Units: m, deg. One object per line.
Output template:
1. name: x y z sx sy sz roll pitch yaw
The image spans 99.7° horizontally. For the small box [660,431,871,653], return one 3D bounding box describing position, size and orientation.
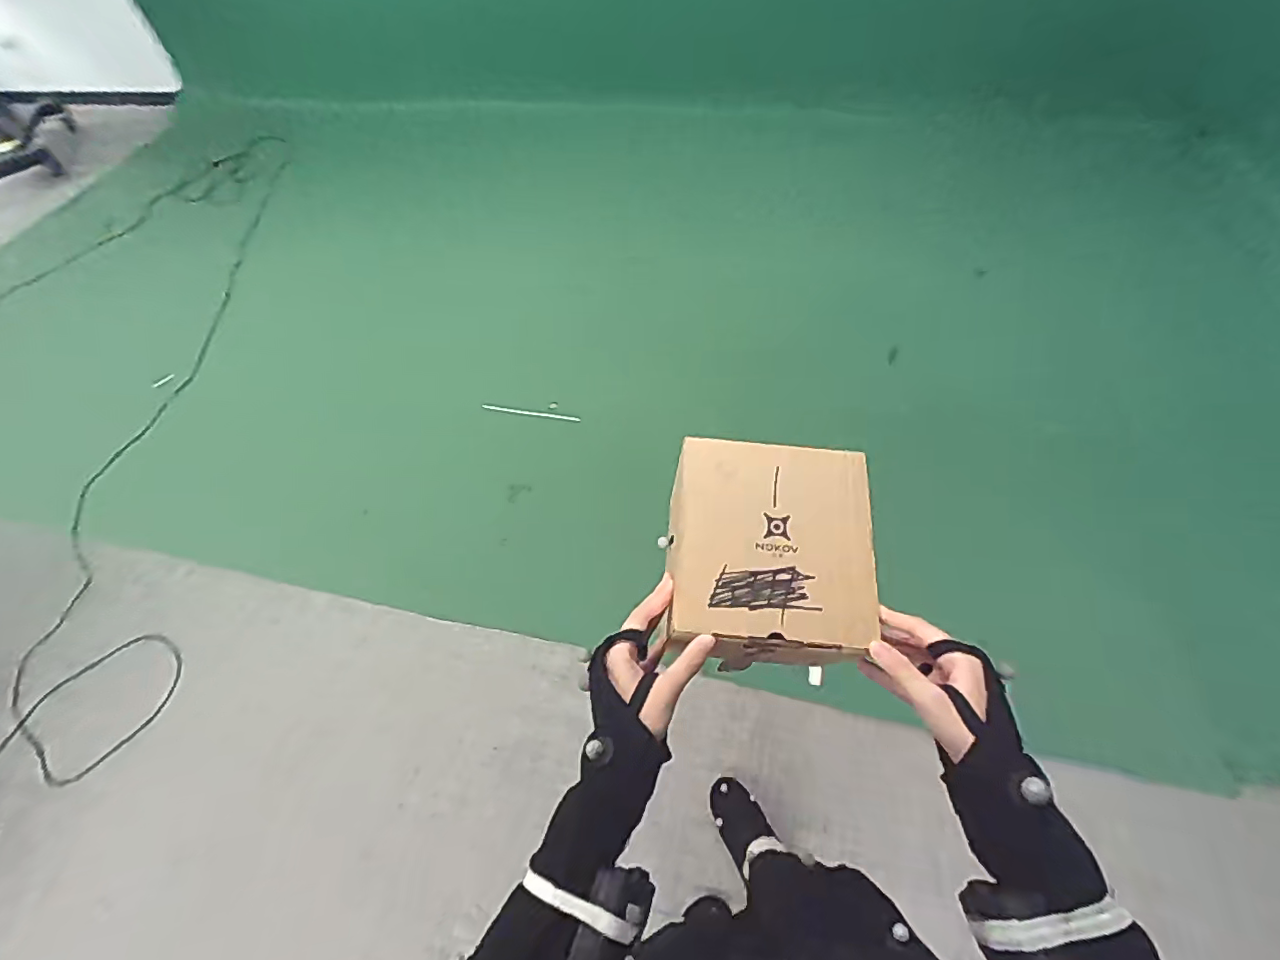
1. small box: 0.108 0.071 0.532 0.168 0.176 0.179 4 67 1
